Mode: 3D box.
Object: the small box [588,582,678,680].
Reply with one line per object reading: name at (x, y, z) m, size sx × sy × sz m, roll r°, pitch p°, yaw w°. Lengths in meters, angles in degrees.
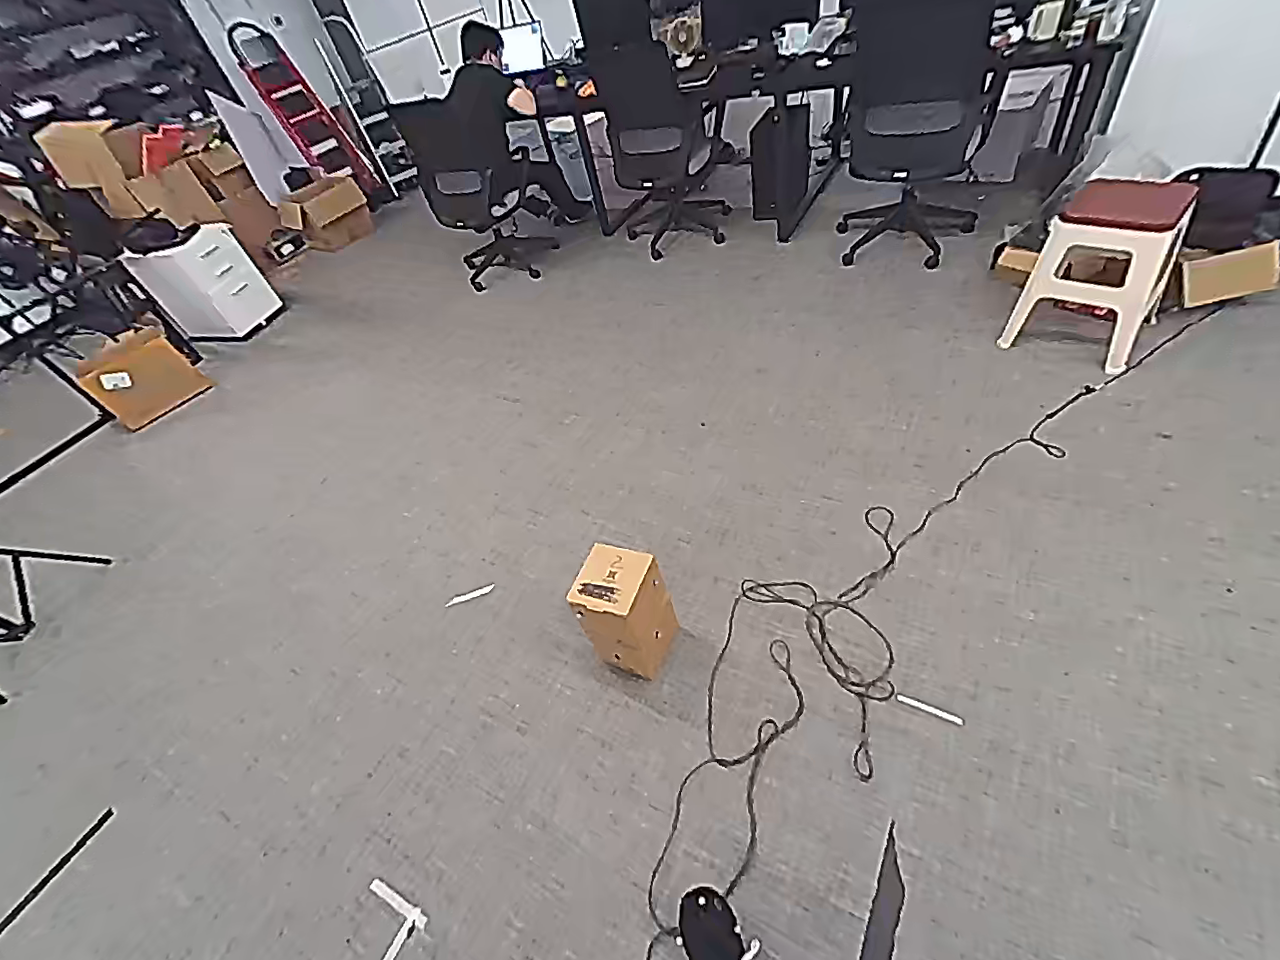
small box at (-0.010, 0.409, 1.456) m, size 0.168 × 0.176 × 0.179 m, roll 13°, pitch 52°, yaw 27°
